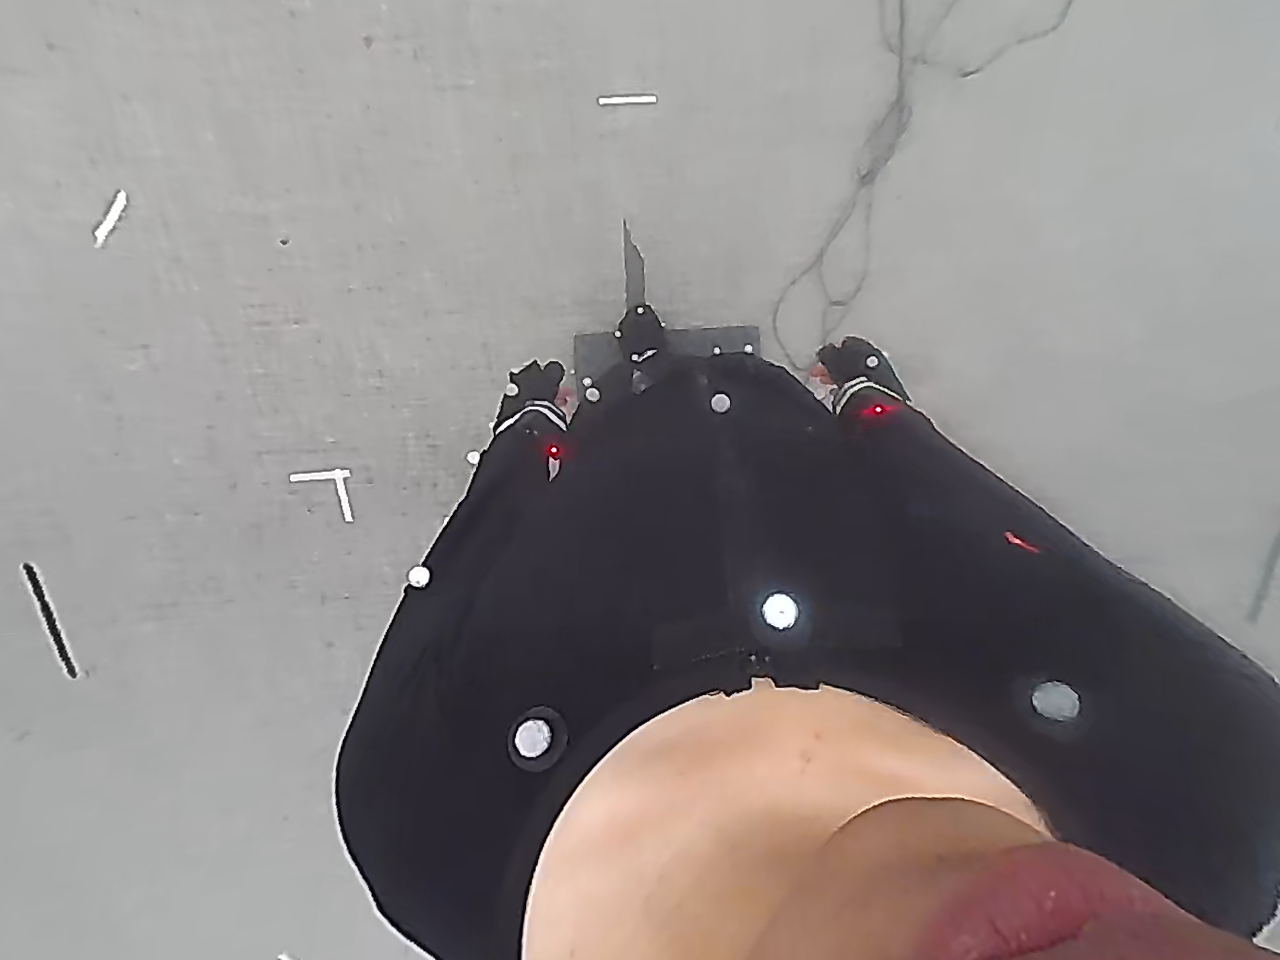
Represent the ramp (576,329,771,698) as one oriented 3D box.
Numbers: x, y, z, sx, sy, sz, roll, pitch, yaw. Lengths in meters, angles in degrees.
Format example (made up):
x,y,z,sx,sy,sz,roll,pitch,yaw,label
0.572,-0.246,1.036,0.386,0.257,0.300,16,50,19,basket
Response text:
x,y,z,sx,sy,sz,roll,pitch,yaw,label
0.095,0.108,1.476,0.509,0.206,0.991,-4,105,3,ramp
